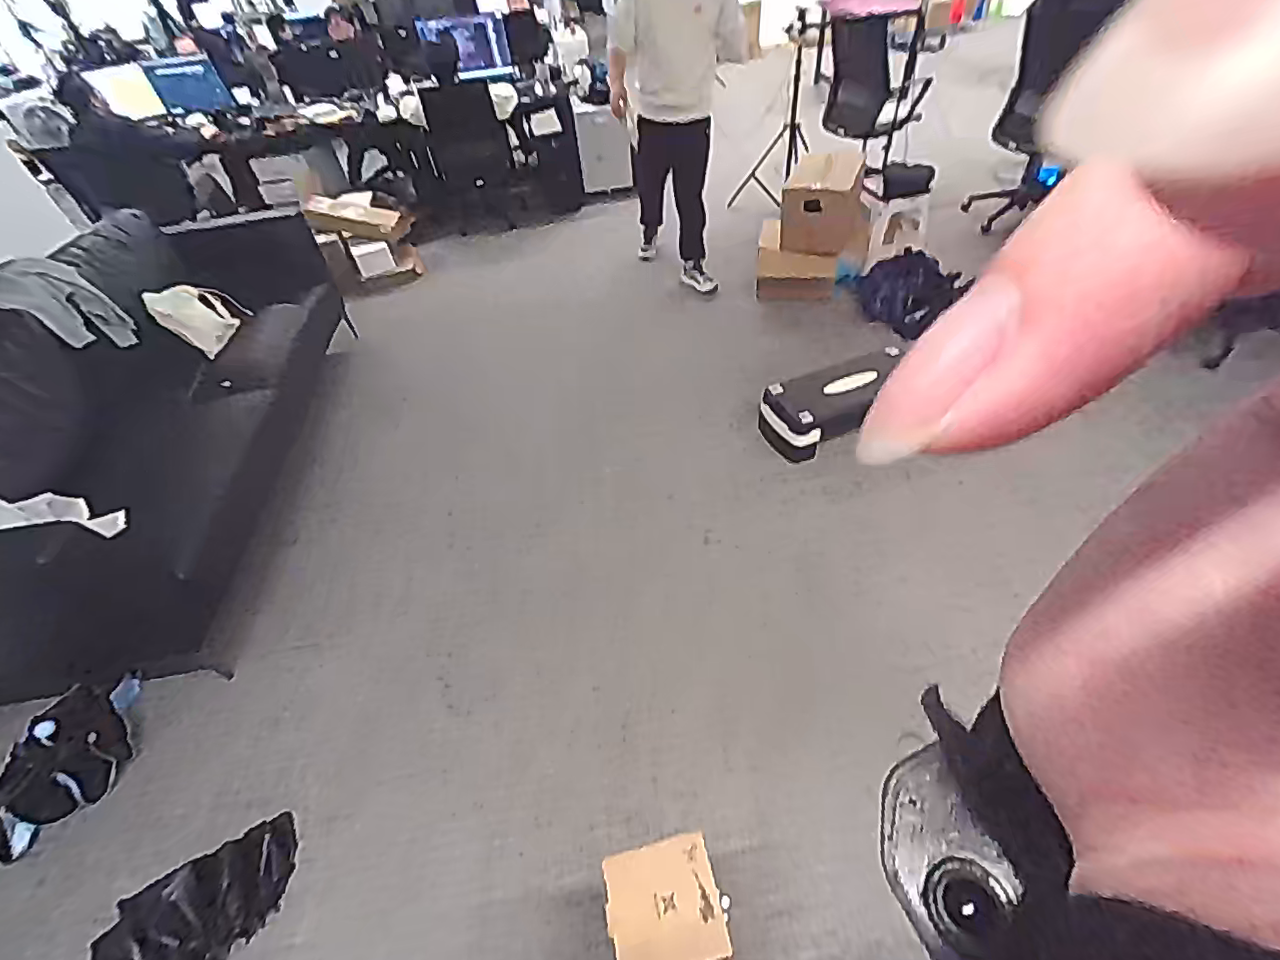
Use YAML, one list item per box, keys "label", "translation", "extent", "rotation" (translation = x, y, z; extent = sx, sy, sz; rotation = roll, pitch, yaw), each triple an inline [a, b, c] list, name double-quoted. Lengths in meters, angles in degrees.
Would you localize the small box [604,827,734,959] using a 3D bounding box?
- label: "small box"
  translation: [0.050, 0.716, 0.906]
  extent: [0.179, 0.176, 0.168]
  rotation: [-14, 45, -3]
